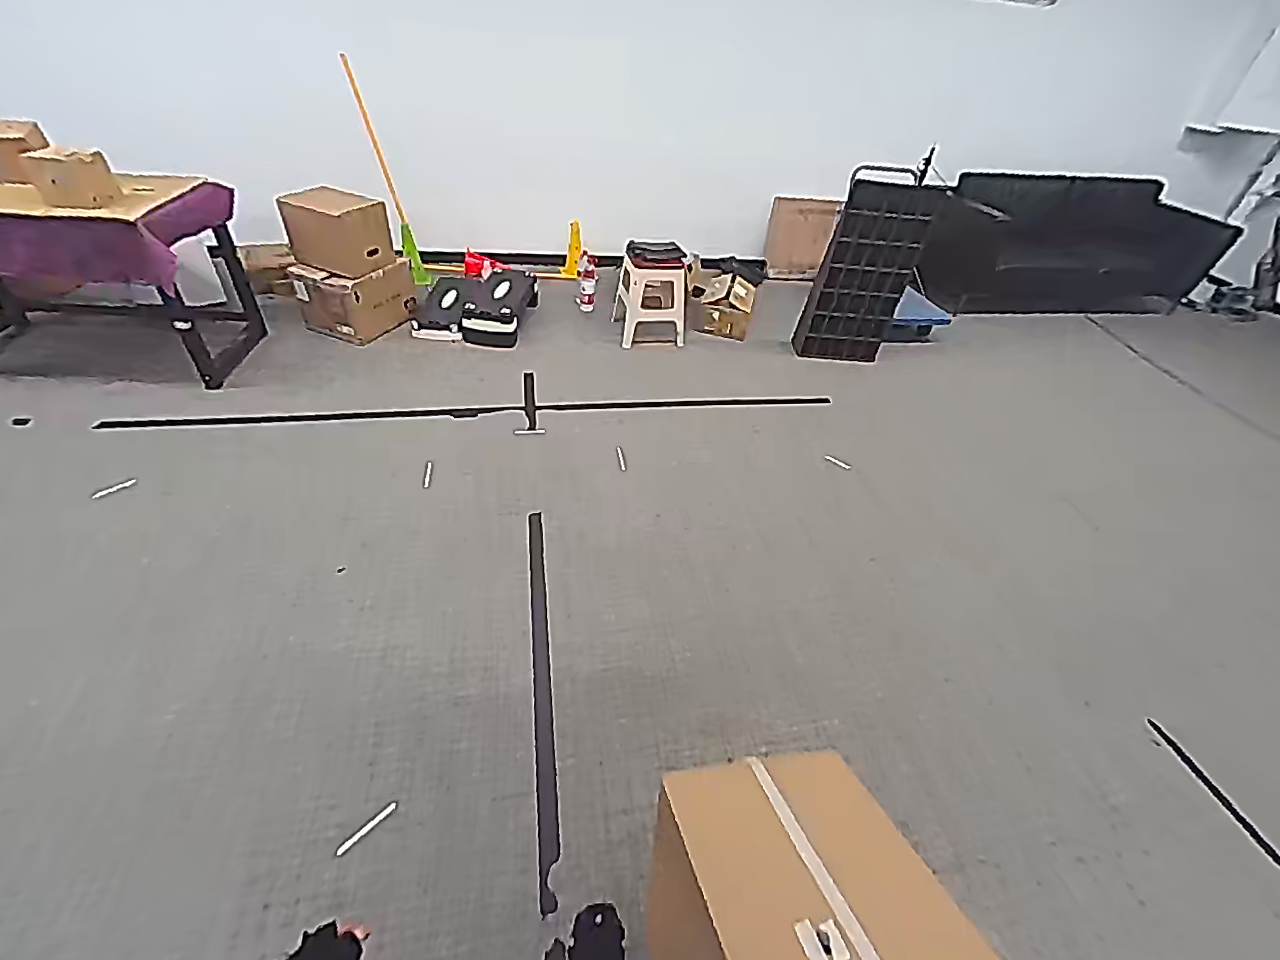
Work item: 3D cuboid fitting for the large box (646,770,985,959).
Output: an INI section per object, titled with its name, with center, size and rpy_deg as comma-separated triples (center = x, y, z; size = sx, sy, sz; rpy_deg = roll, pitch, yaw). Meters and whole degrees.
[large box]
center = 0.220, 0.678, 0.726
size = 0.320, 0.320, 0.408
rpy_deg = 2, 16, -15
